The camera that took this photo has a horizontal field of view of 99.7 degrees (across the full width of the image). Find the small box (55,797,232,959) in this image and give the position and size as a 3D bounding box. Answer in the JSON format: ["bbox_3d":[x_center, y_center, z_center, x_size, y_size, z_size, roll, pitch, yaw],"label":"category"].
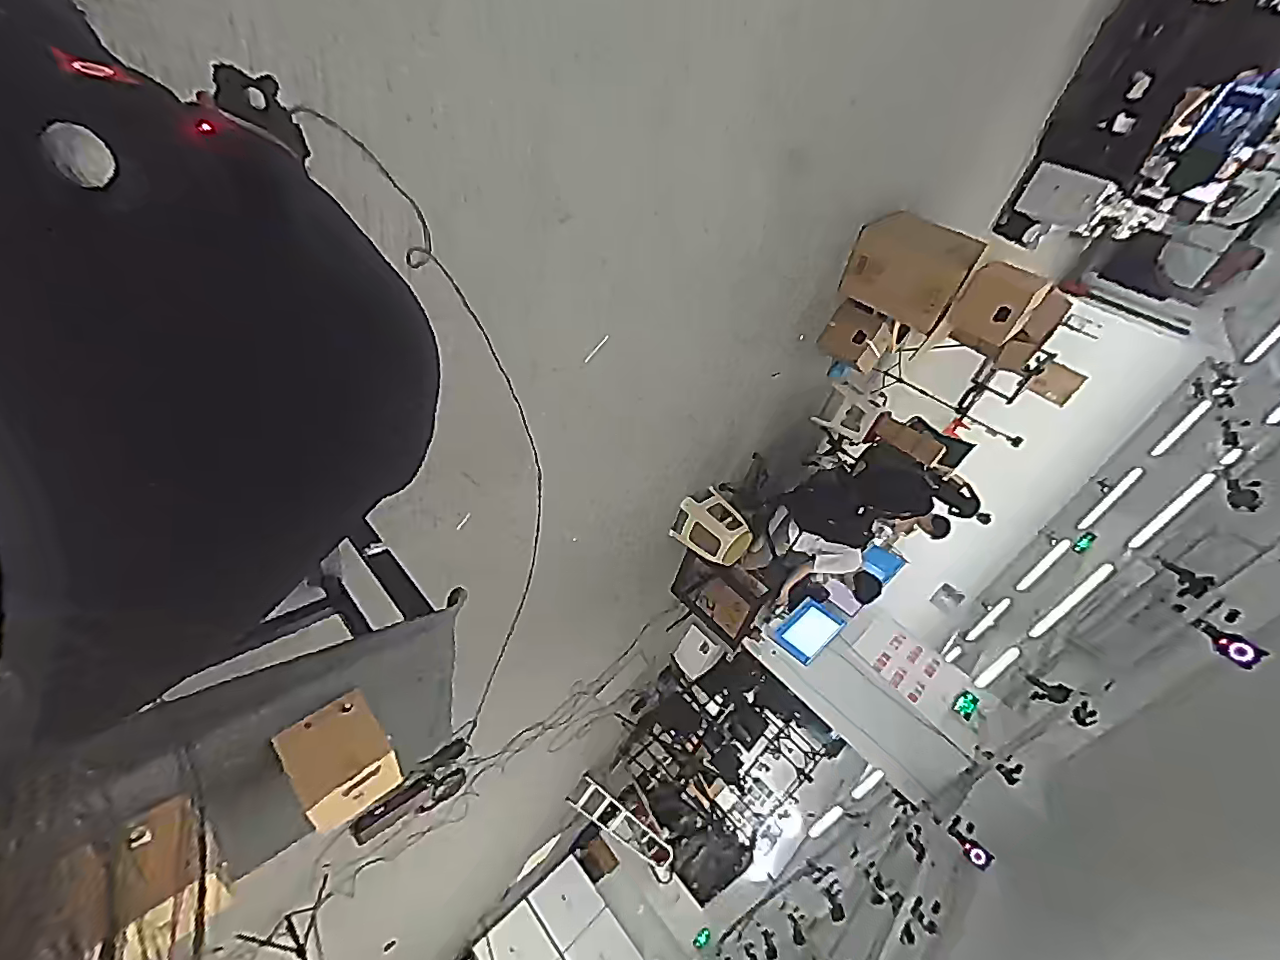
[{"bbox_3d":[-0.839,0.688,0.923,0.168,0.176,0.179,-26,144,-40],"label":"small box"}]

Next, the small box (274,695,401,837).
[{"bbox_3d":[-0.616,0.575,1.107,0.168,0.176,0.179,-27,147,-37],"label":"small box"}]
